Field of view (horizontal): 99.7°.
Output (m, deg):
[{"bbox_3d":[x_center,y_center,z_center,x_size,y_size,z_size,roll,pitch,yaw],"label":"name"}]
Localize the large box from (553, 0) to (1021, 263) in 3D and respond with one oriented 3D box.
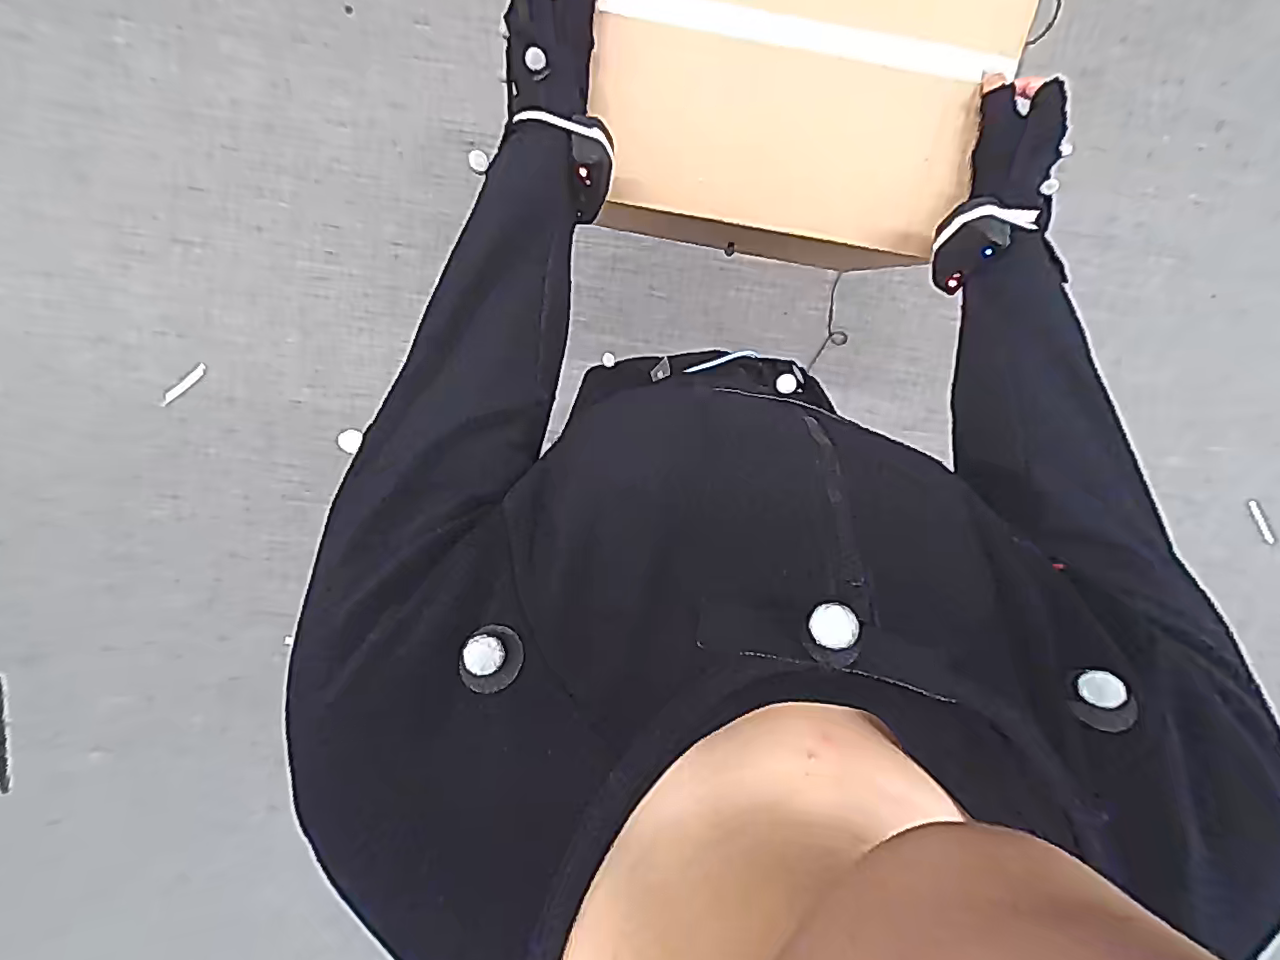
[{"bbox_3d":[0.137,-0.449,0.632,0.408,0.320,0.320,10,108,-2],"label":"large box"}]
